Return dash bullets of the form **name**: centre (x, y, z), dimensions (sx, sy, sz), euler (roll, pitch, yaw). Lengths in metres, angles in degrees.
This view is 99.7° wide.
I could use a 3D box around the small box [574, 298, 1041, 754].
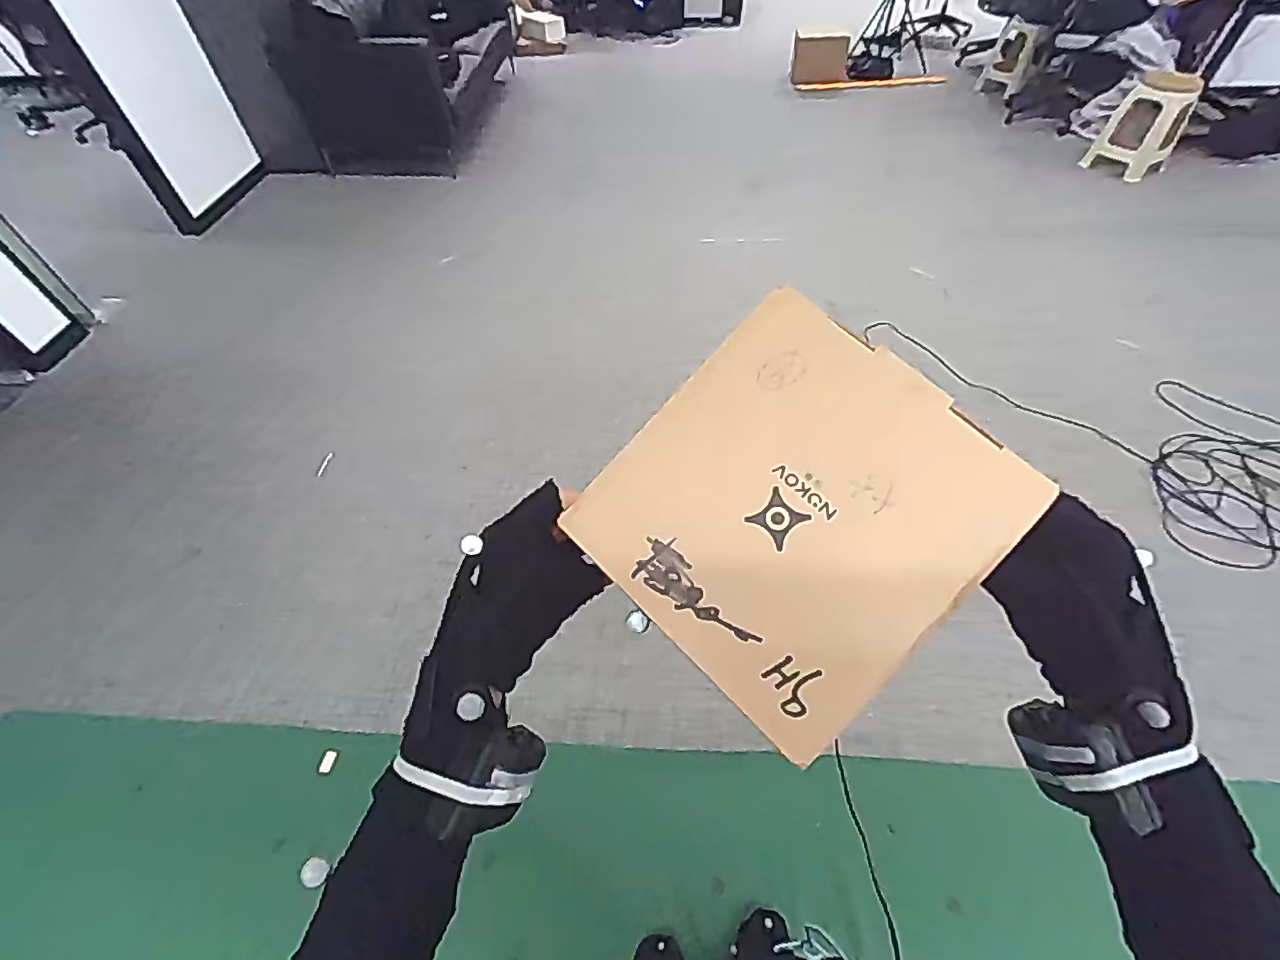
- **small box**: centre (0.089, 0.029, 0.351), dimensions (0.168, 0.176, 0.179), euler (43, 88, 15)
